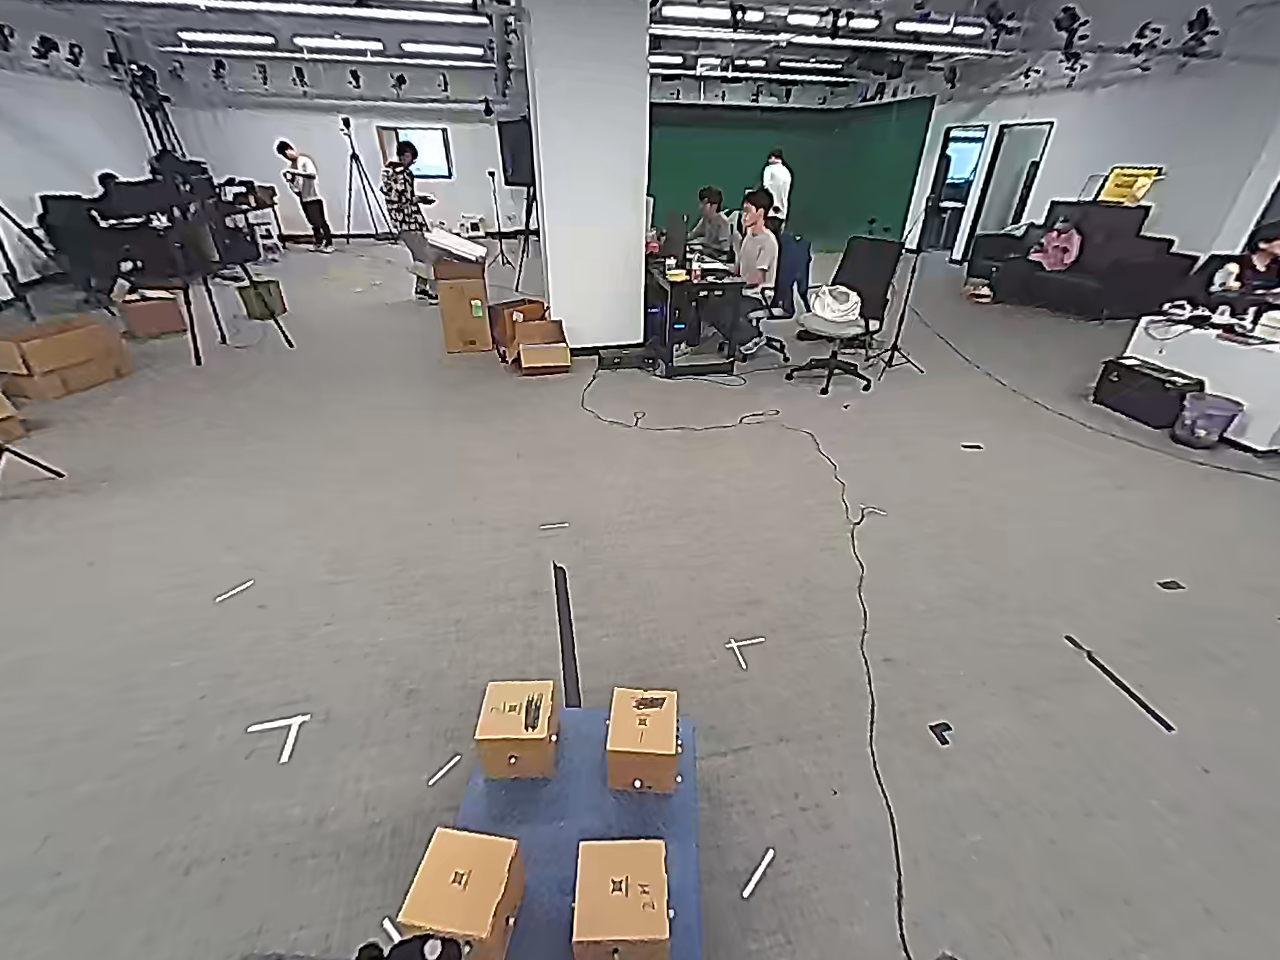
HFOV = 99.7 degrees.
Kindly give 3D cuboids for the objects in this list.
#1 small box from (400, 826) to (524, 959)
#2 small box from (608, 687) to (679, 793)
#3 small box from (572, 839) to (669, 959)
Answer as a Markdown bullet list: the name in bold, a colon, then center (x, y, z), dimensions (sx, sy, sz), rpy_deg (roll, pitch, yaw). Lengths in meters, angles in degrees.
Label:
- **small box**: center (-0.343, 0.831, 1.078), dimensions (0.179, 0.176, 0.168), rpy_deg (6, 30, 6)
- **small box**: center (0.012, 0.658, 1.374), dimensions (0.168, 0.176, 0.179), rpy_deg (3, 32, 4)
- **small box**: center (-0.034, 0.840, 1.065), dimensions (0.179, 0.176, 0.168), rpy_deg (0, 31, 0)
